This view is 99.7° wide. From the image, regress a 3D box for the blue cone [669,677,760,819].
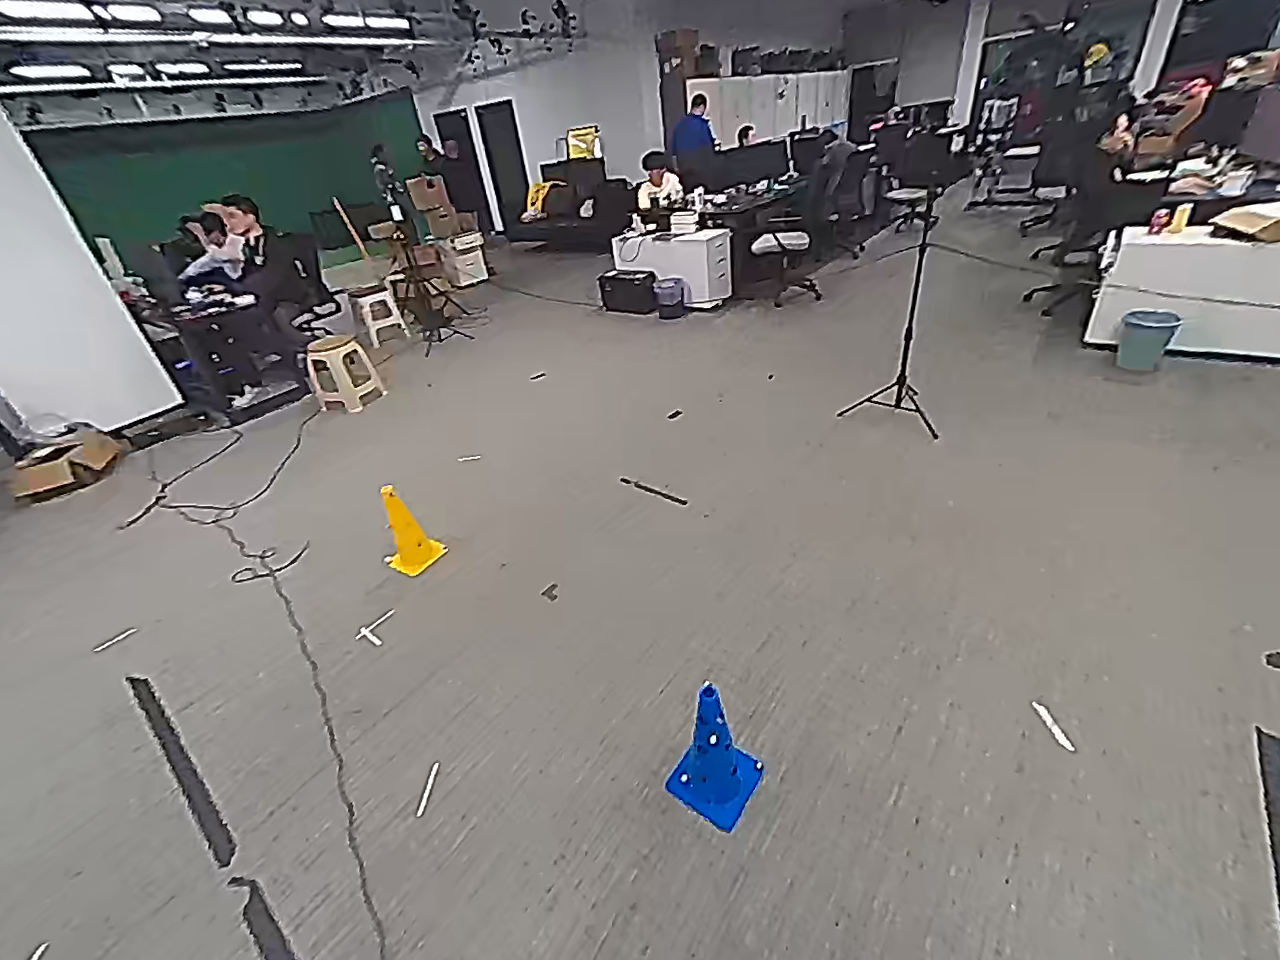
[{"bbox_3d":[0.173,0.622,1.315,0.193,0.380,0.192,19,40,35],"label":"blue cone"}]
